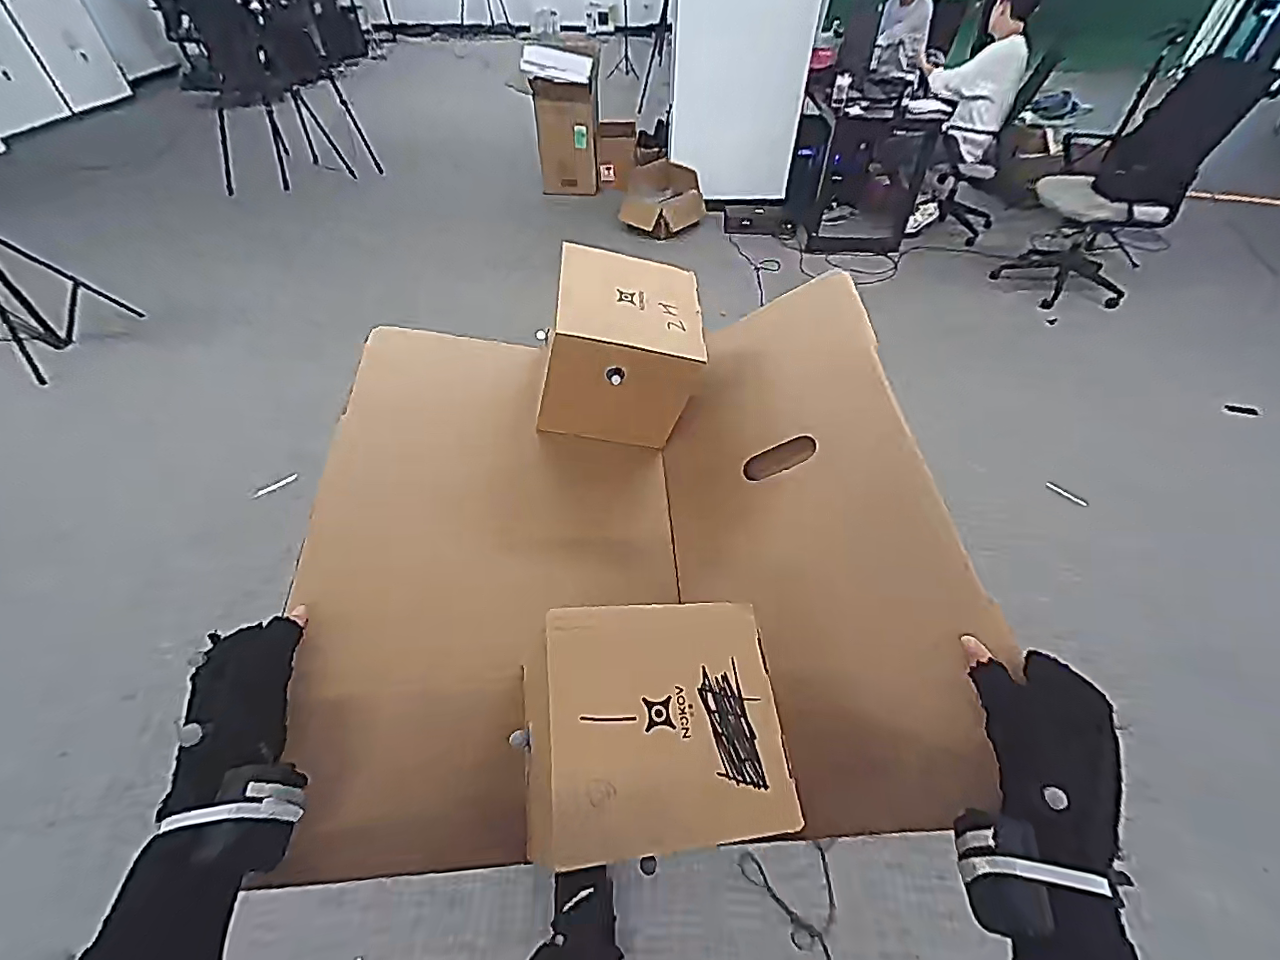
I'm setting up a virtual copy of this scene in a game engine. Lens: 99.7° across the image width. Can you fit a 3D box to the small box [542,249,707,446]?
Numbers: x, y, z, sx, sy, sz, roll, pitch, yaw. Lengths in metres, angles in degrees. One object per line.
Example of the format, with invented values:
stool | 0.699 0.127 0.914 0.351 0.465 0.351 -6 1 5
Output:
small box | -0.028 -0.163 0.705 0.179 0.176 0.168 9 55 -14
